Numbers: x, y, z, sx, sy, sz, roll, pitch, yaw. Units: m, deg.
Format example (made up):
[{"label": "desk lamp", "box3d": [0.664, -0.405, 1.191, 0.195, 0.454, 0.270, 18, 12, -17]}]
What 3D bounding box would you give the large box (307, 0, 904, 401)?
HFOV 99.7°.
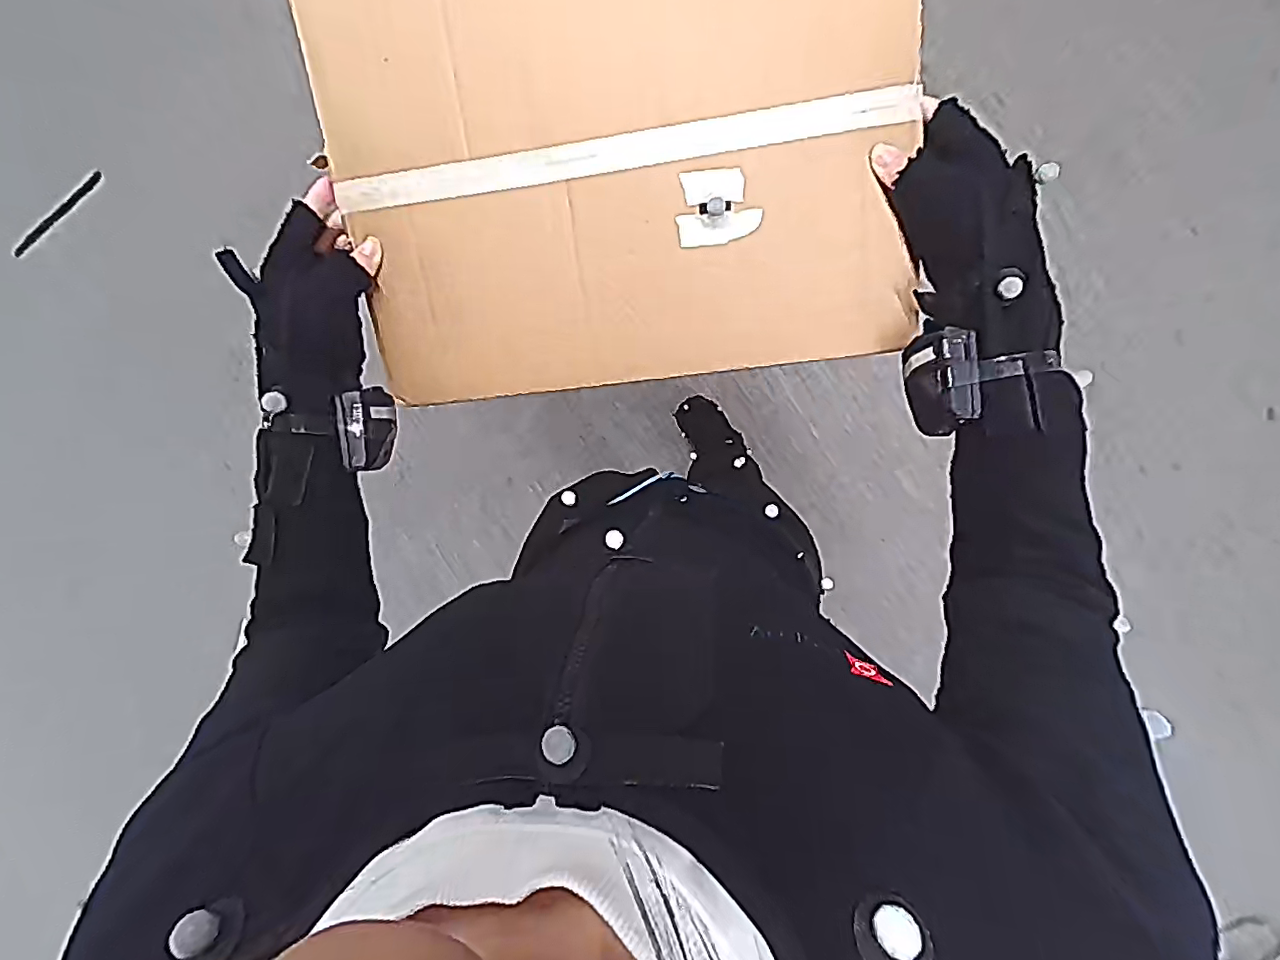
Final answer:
[{"label": "large box", "box3d": [-0.009, -0.277, 0.532, 0.408, 0.320, 0.320, -7, 107, 6]}]
